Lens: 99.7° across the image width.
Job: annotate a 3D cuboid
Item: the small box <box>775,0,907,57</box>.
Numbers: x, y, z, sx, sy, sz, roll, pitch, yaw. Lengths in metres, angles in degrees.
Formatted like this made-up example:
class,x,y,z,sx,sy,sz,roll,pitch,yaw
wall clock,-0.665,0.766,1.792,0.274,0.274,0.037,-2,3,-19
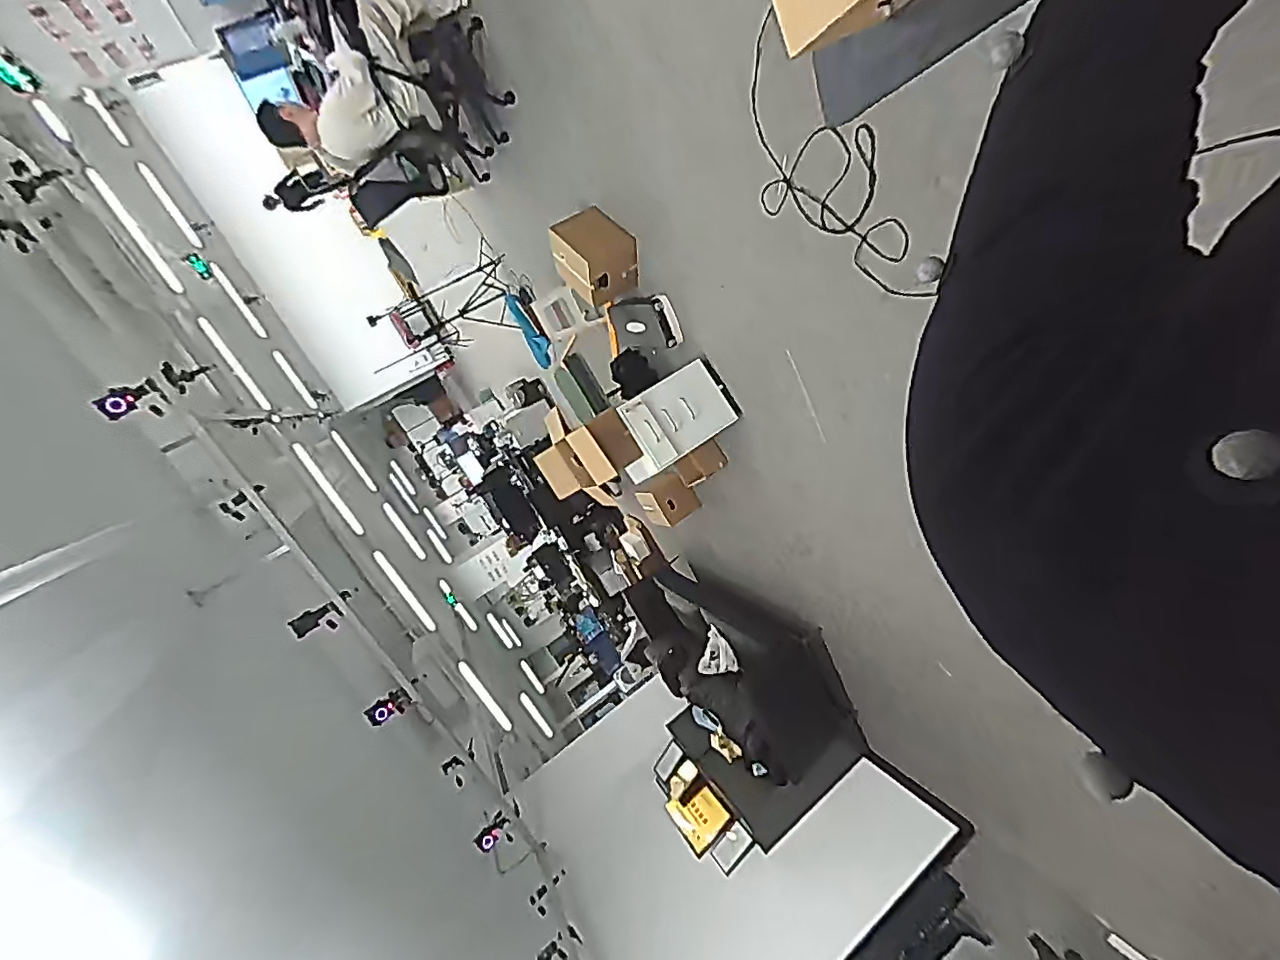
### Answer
class,x,y,z,sx,sy,sz,roll,pitch,yaw
small box,0.246,-0.597,0.558,0.168,0.176,0.179,62,163,-20
